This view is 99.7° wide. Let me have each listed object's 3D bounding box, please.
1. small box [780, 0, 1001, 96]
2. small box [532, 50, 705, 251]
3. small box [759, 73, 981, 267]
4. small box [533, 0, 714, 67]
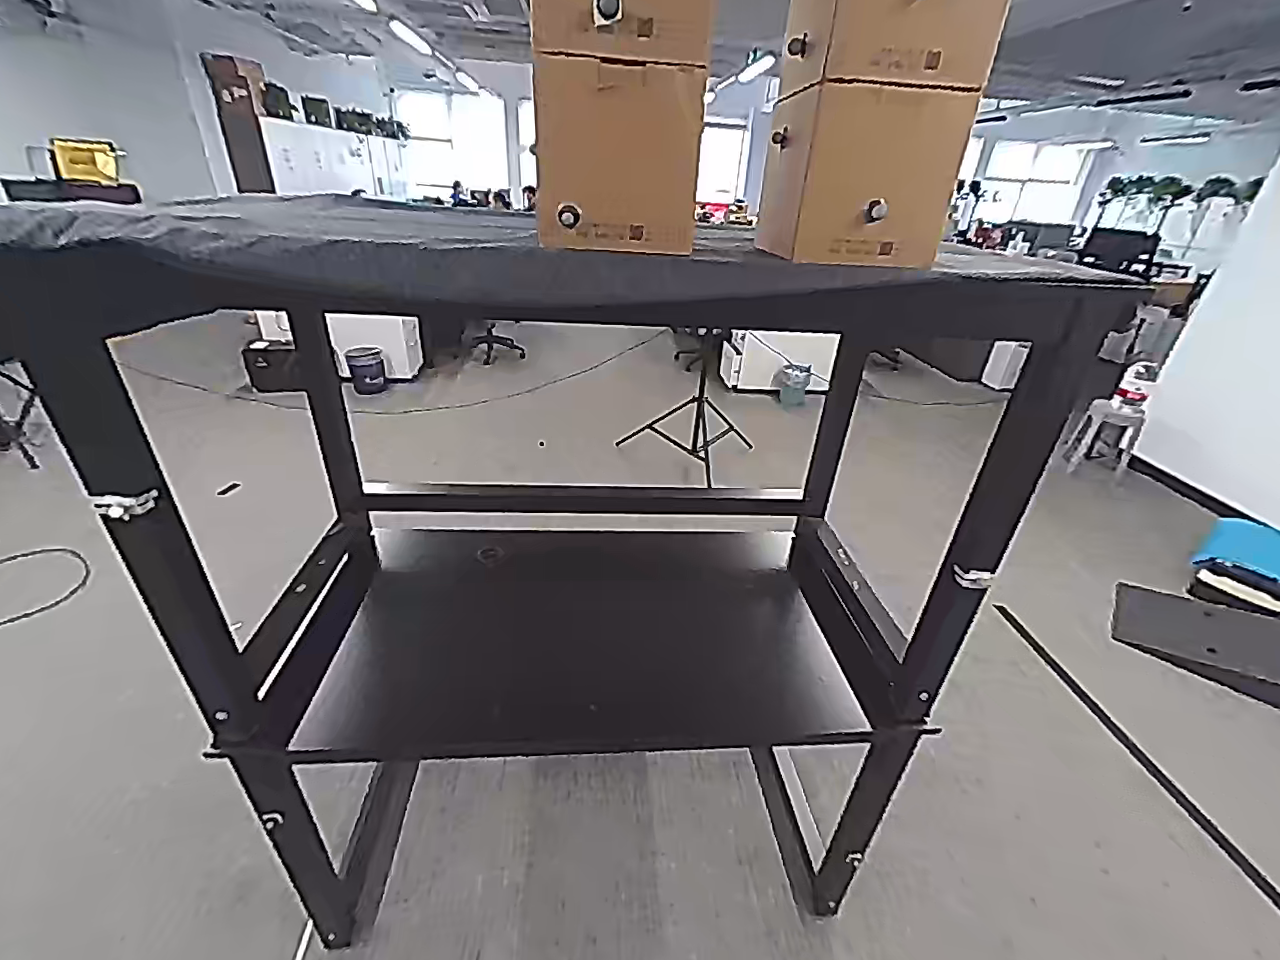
[{"bbox_3d":[0.256,-0.499,0.559,0.168,0.176,0.179,1,29,-4],"label":"small box"},{"bbox_3d":[-0.027,-0.356,0.610,0.168,0.176,0.179,1,27,-5],"label":"small box"},{"bbox_3d":[0.247,-0.354,0.636,0.168,0.176,0.179,0,28,-4],"label":"small box"},{"bbox_3d":[-0.017,-0.500,0.536,0.168,0.176,0.179,0,28,-4],"label":"small box"}]
